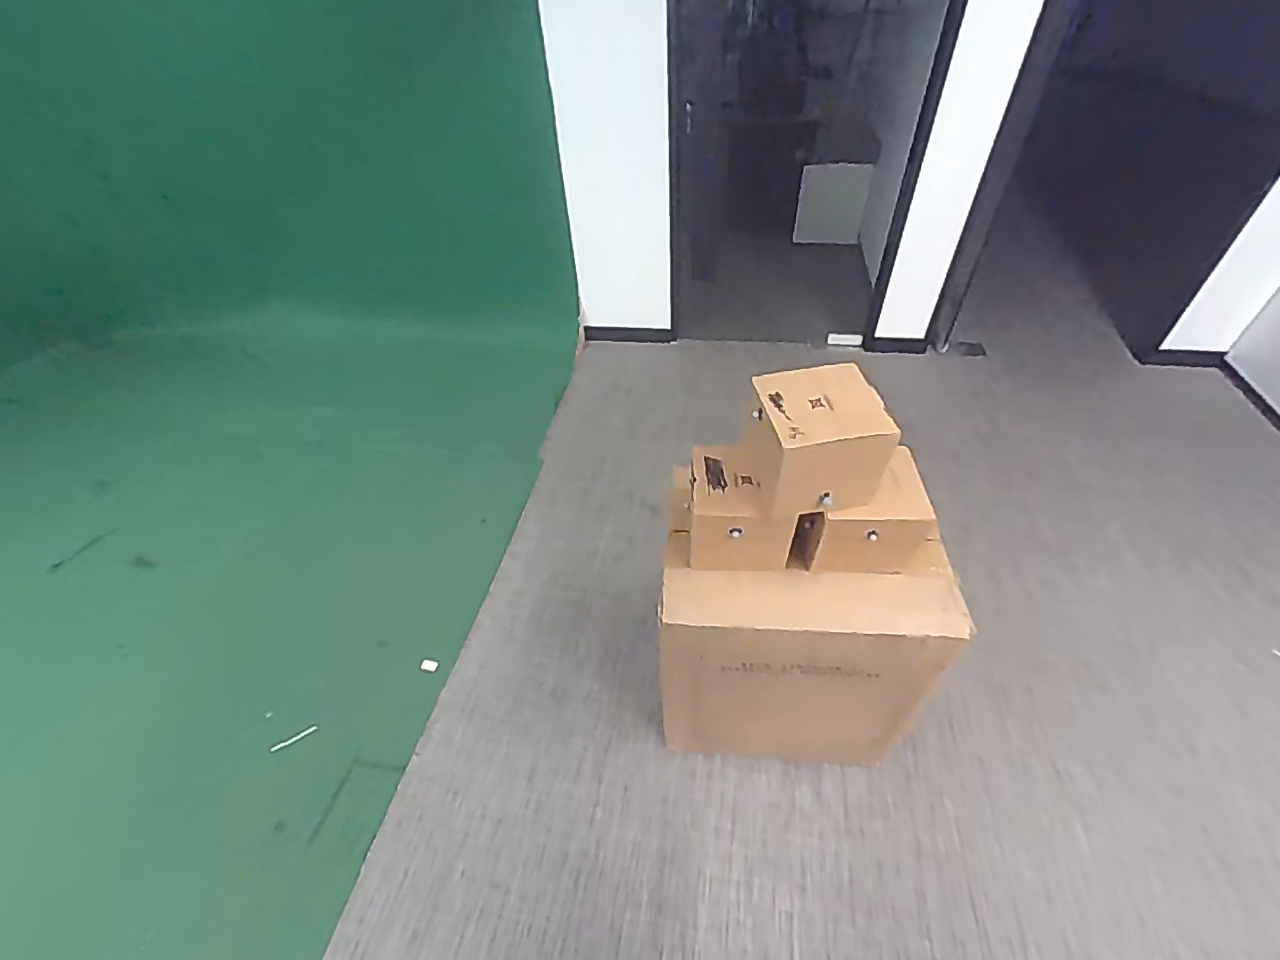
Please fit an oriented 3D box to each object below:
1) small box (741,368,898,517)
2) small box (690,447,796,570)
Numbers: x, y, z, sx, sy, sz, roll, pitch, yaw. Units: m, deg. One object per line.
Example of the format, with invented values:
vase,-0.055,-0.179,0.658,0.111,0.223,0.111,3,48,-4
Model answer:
small box,0.278,-0.058,0.884,0.179,0.176,0.168,-7,49,-5
small box,0.181,0.055,1.008,0.179,0.176,0.168,1,49,4
